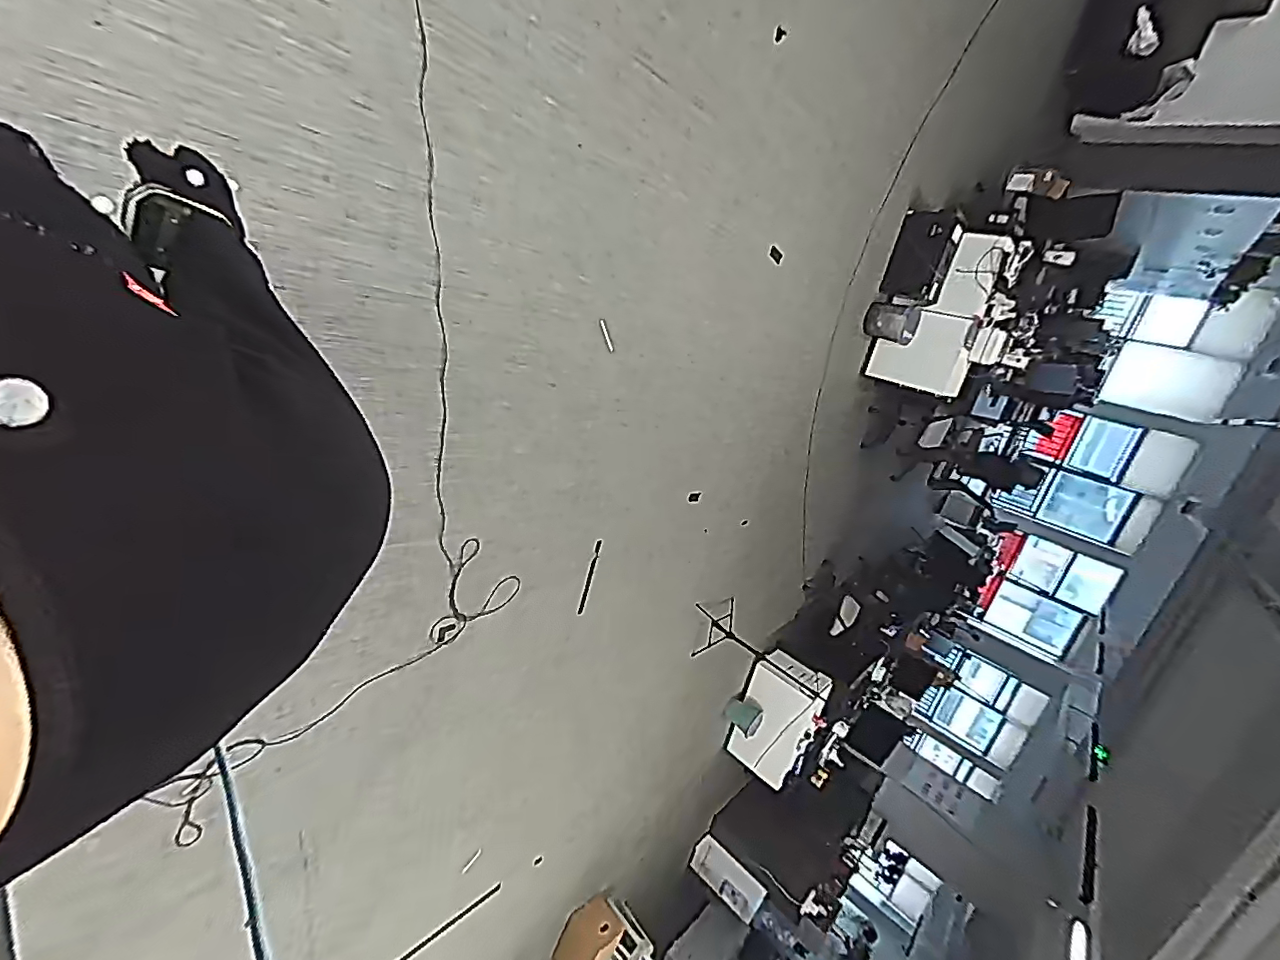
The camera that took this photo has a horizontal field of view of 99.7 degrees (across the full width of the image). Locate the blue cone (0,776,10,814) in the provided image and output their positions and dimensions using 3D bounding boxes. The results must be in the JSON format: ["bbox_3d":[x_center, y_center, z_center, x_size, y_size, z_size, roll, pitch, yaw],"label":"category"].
[{"bbox_3d":[-1.383,0.752,1.055,0.192,0.380,0.193,-10,119,-47],"label":"blue cone"}]
